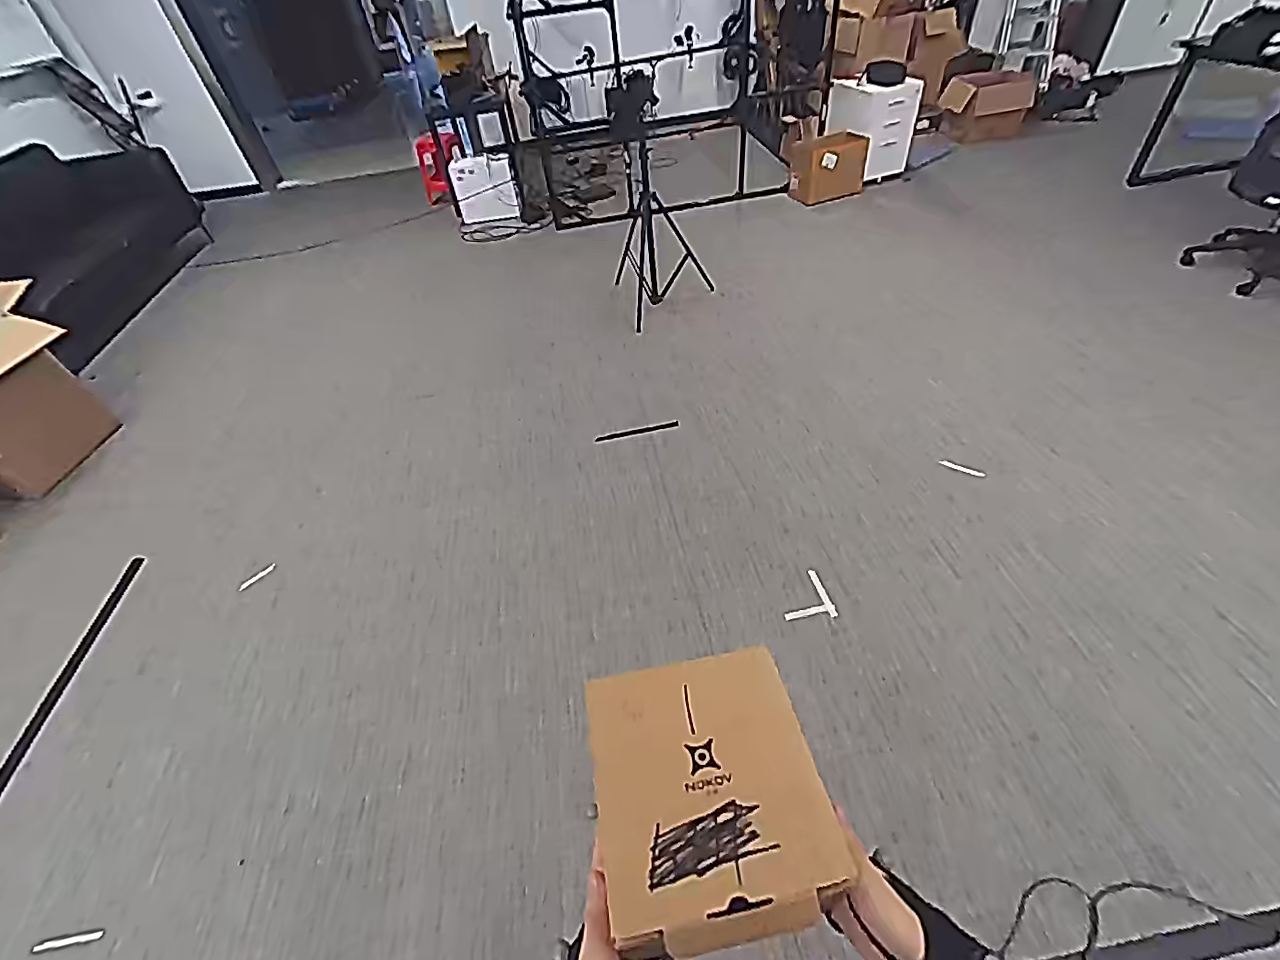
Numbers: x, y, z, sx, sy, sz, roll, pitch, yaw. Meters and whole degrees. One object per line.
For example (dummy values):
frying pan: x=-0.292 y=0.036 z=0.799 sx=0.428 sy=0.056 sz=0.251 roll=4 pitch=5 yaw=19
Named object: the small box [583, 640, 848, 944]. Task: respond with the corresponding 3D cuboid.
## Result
small box: x=0.051 y=0.270 z=0.465 sx=0.168 sy=0.176 sz=0.179 roll=-10 pitch=44 yaw=-5
